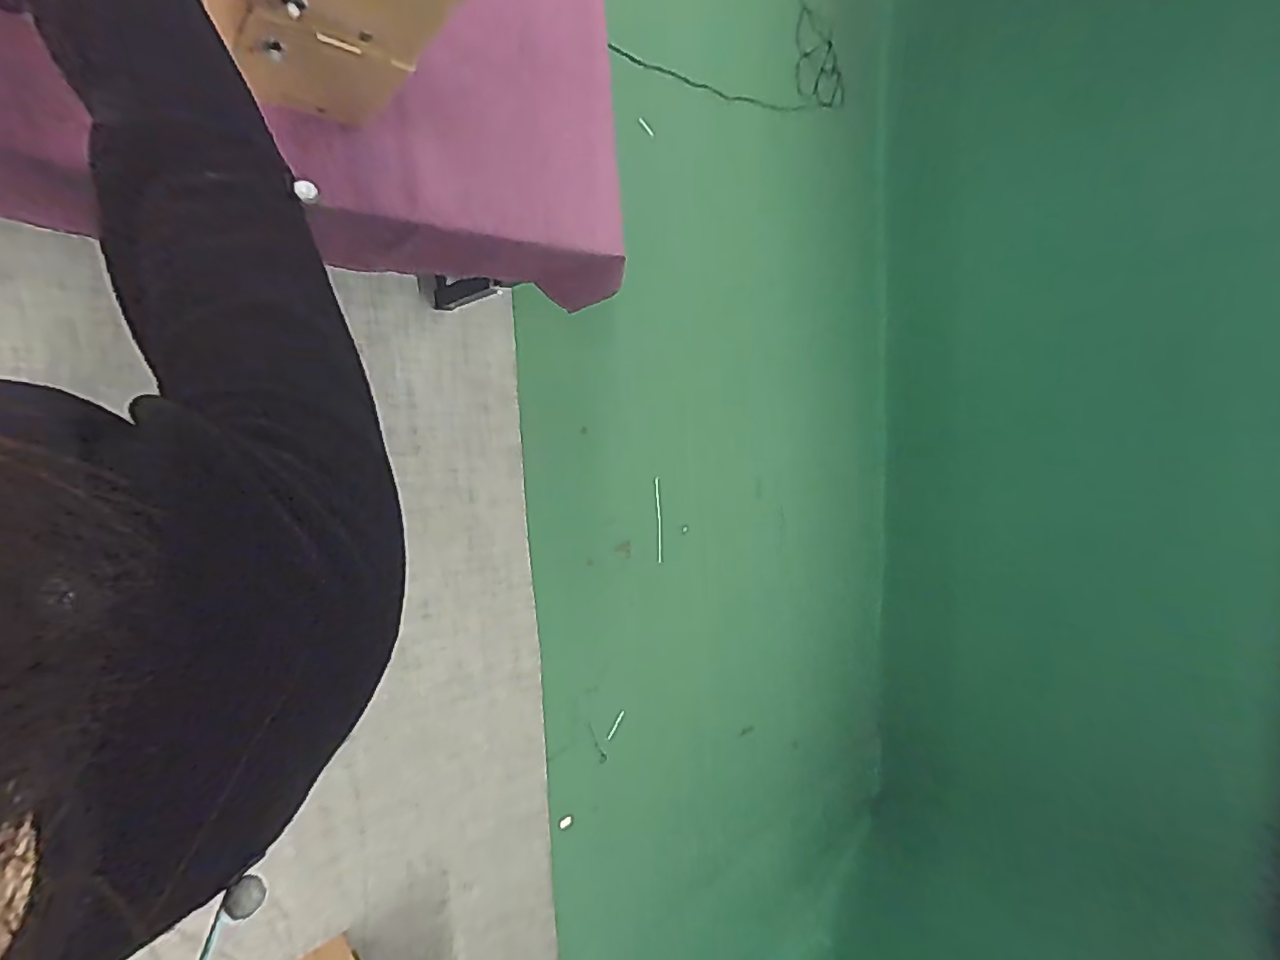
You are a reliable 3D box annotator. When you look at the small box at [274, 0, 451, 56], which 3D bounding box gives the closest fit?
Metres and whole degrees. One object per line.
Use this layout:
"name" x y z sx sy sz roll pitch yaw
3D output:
"small box" -0.270 -0.552 0.505 0.168 0.176 0.179 -14 100 -44
